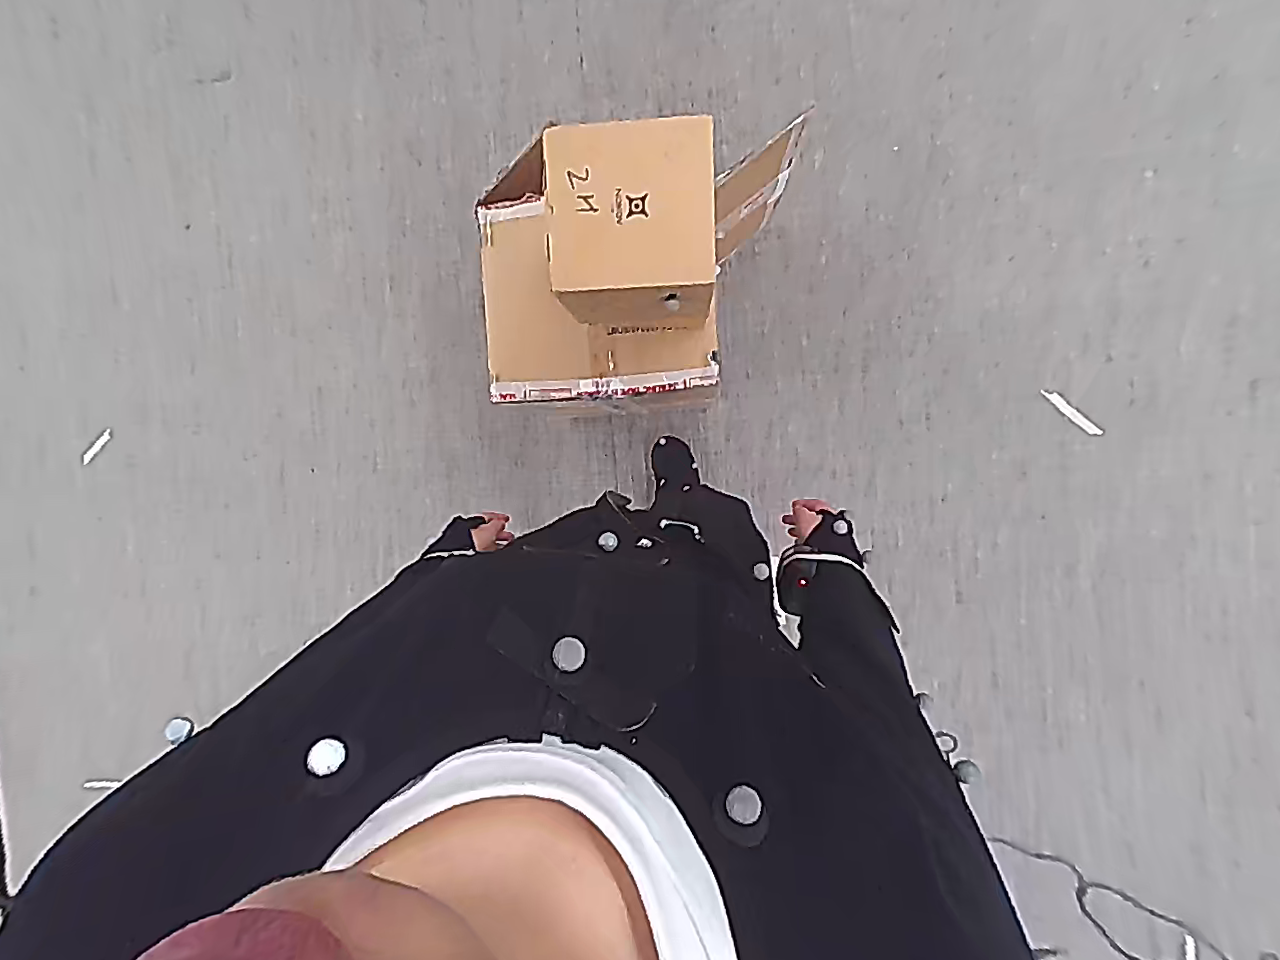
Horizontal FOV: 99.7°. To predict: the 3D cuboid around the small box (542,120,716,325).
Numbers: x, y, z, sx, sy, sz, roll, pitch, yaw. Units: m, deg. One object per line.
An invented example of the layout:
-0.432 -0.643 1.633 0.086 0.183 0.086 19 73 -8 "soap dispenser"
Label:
-0.006 -0.281 0.628 0.179 0.176 0.168 -1 94 5 "small box"
